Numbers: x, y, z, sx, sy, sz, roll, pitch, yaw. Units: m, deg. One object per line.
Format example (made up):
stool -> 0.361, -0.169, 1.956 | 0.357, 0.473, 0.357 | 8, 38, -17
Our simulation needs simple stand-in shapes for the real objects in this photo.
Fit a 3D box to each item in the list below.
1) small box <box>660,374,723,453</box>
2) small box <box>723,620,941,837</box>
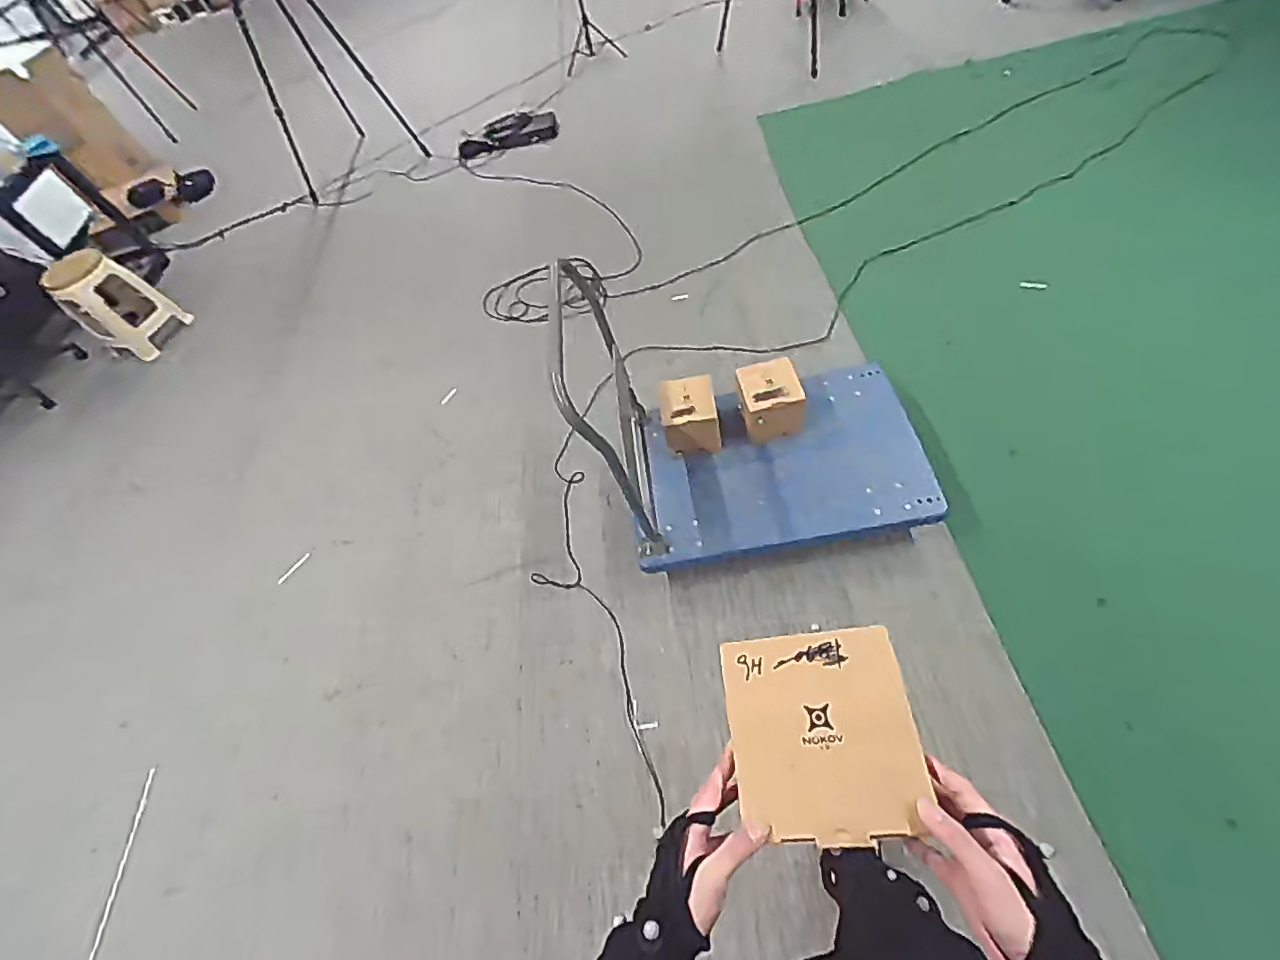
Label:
small box -> 0.161, -0.198, 1.678 | 0.168, 0.176, 0.179 | -8, 56, 7
small box -> 0.186, 0.261, 0.568 | 0.168, 0.176, 0.179 | -9, 60, 9
